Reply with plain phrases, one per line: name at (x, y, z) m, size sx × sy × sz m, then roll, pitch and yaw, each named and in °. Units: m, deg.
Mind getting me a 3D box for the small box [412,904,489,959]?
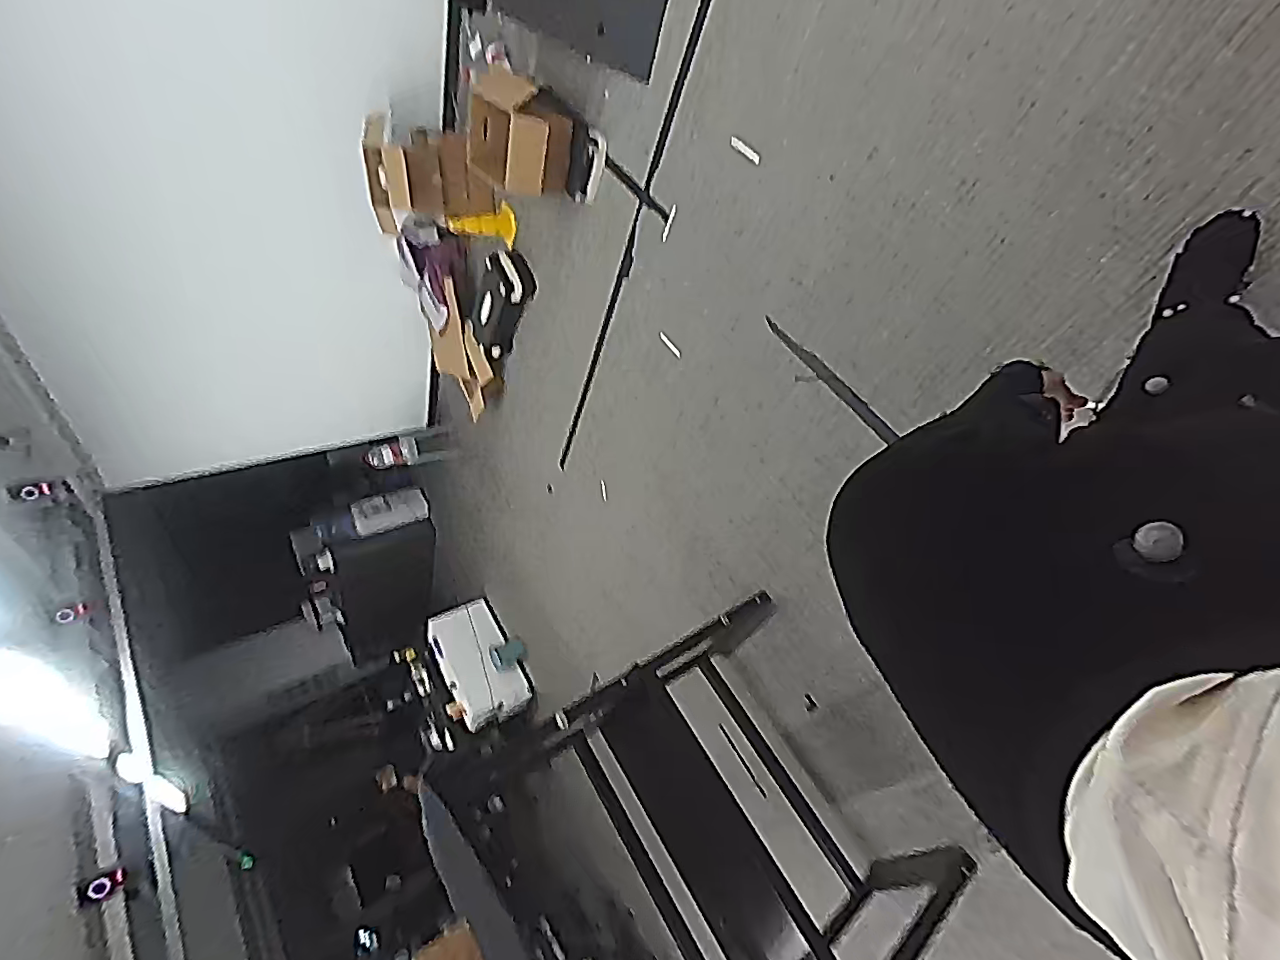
small box at (-0.578, 1.444, 1.648) m, size 0.179 × 0.176 × 0.168 m, roll 54°, pitch 141°, yaw 24°
